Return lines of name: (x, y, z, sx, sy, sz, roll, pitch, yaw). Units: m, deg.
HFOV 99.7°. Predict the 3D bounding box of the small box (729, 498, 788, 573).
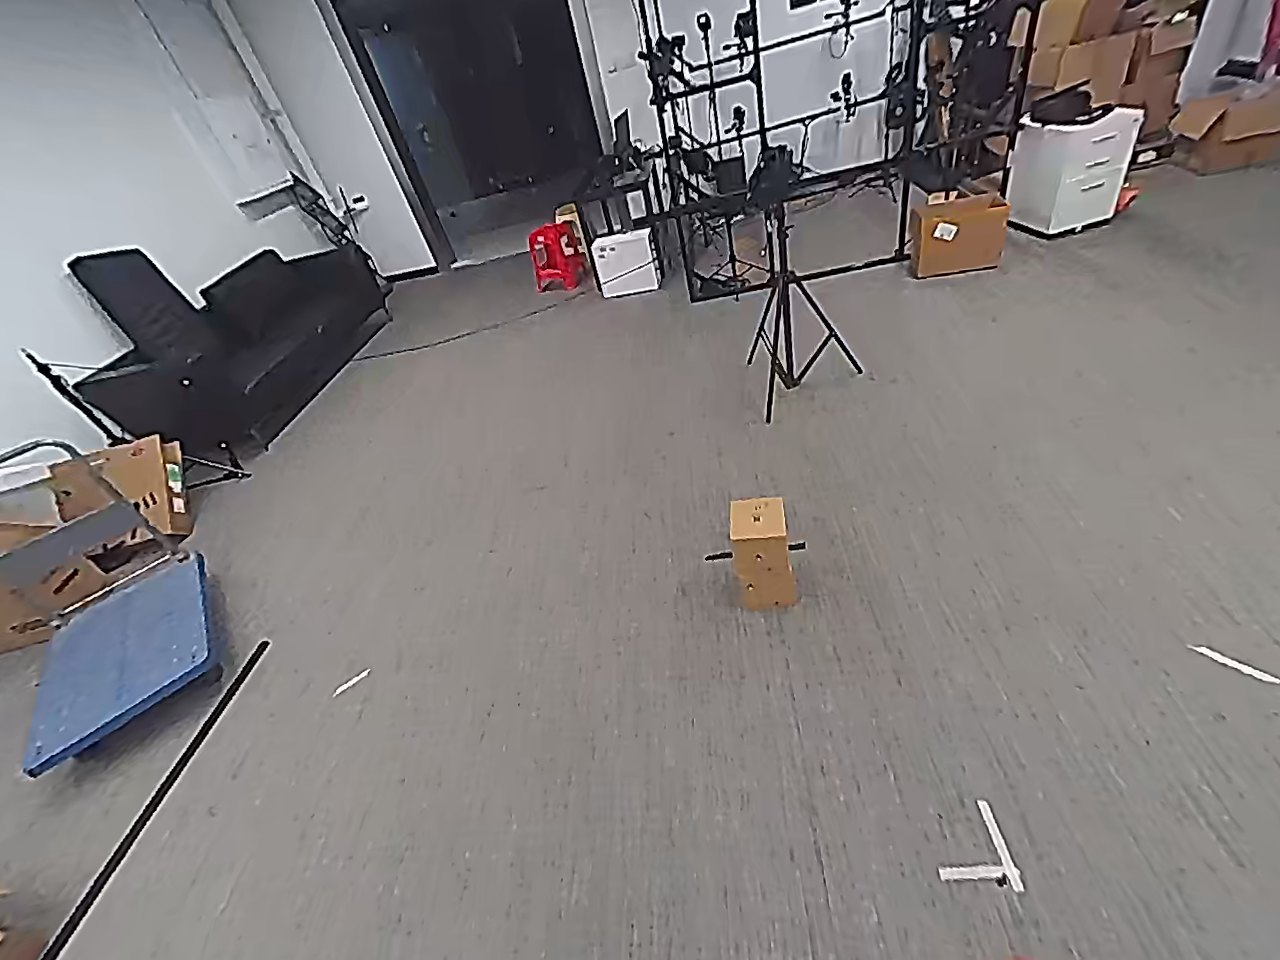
small box: (0.375, 0.179, 1.703, 0.168, 0.176, 0.179, -5, 38, 14)
